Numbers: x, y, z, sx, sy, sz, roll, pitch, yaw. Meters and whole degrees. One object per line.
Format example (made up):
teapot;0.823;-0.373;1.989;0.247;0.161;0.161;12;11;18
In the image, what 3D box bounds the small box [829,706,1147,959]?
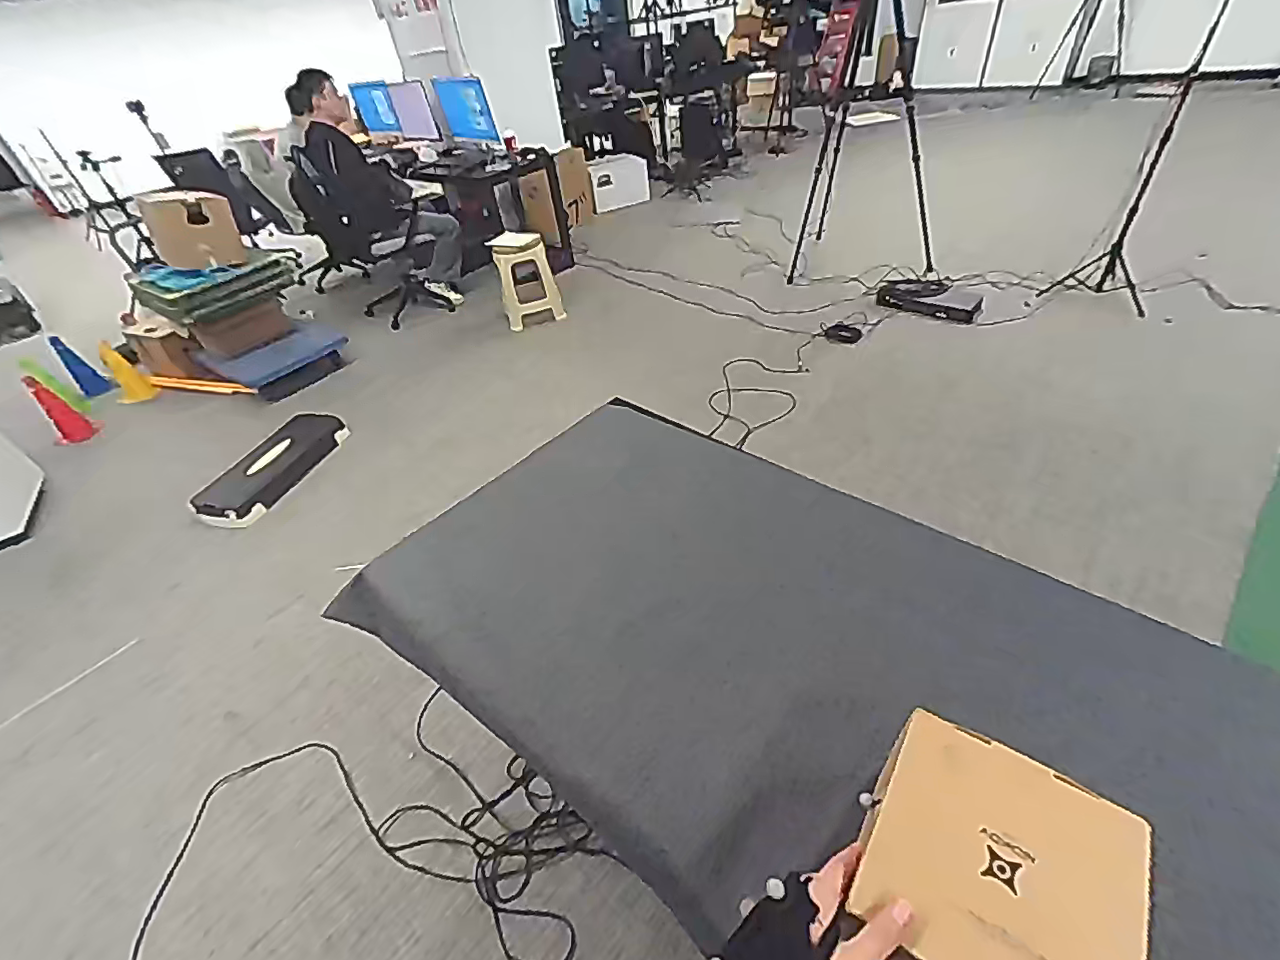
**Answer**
small box;0.268;0.333;0.443;0.168;0.176;0.179;21;49;29
